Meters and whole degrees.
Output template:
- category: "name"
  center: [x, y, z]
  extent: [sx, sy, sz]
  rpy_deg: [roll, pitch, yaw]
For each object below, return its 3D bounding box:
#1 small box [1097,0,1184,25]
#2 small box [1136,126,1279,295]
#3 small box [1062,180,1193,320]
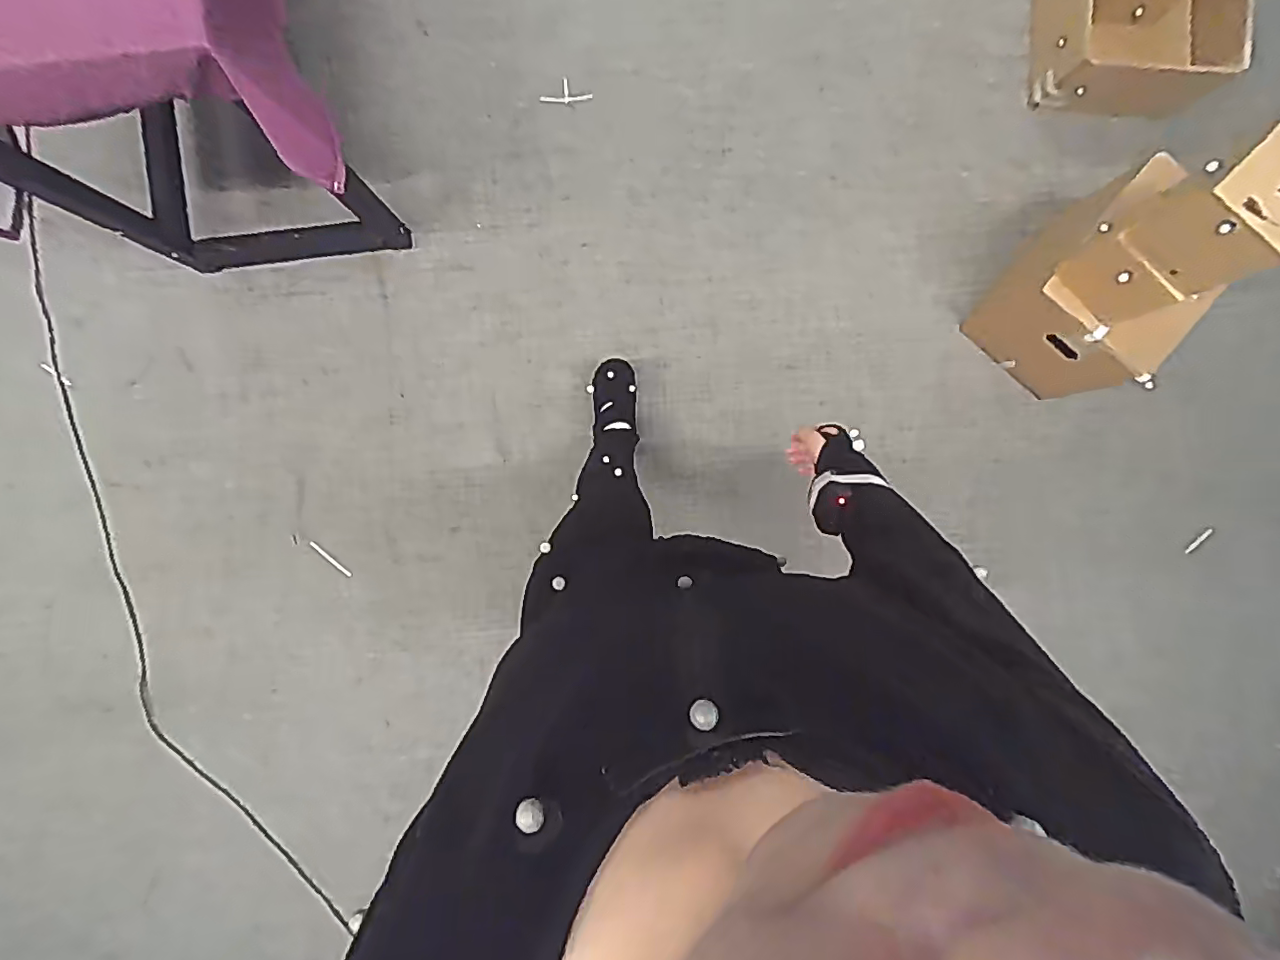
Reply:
- category: "small box"
  center: [1.281, -1.285, 1.336]
  extent: [0.168, 0.176, 0.179]
  rpy_deg: [3, 91, 0]
- category: "small box"
  center: [1.028, -0.456, 0.925]
  extent: [0.179, 0.176, 0.168]
  rpy_deg: [-45, 87, 0]
- category: "small box"
  center: [1.023, -0.446, 1.090]
  extent: [0.168, 0.176, 0.179]
  rpy_deg: [-41, 88, 1]
